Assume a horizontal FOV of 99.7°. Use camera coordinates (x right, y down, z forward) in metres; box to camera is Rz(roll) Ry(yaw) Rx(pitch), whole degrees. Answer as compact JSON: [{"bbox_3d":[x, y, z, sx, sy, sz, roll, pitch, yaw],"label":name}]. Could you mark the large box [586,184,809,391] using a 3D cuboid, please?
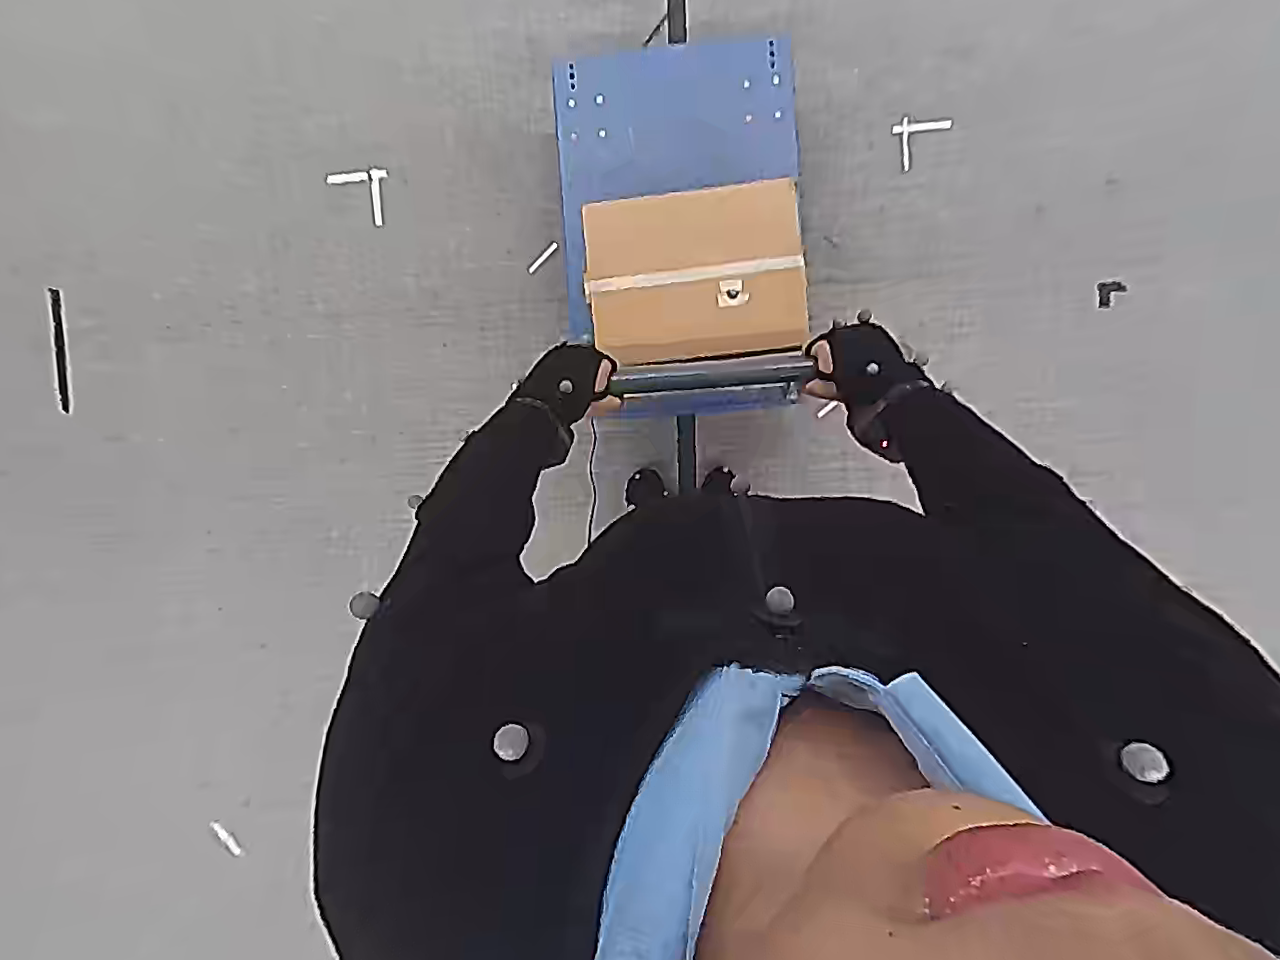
[{"bbox_3d":[0.115,-0.391,1.185,0.408,0.320,0.320,-6,92,3],"label":"large box"}]
